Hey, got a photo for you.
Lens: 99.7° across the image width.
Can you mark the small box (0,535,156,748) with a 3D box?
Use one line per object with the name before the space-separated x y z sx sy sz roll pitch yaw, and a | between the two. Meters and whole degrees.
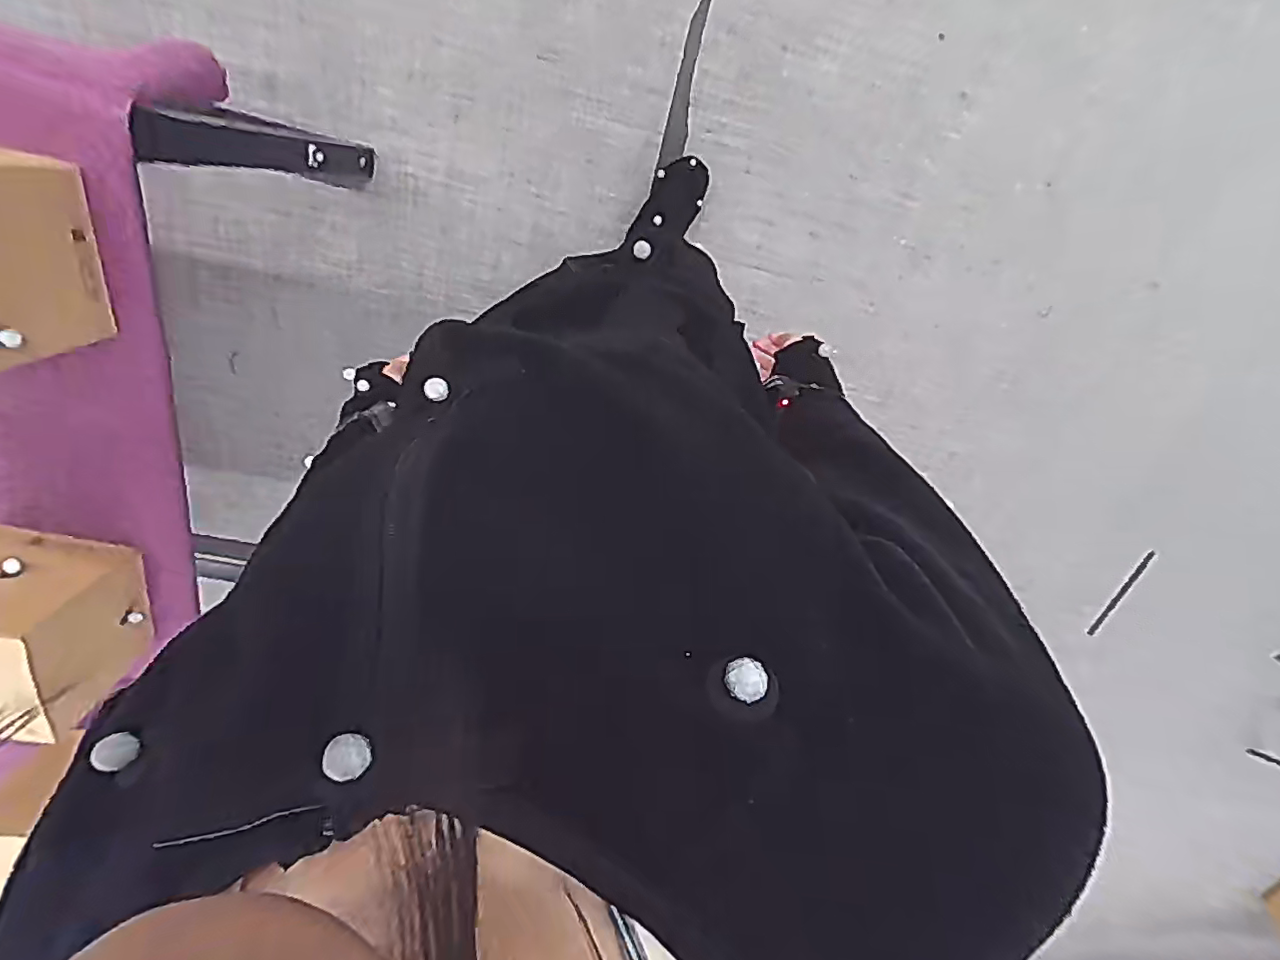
small box | -0.745 0.189 0.660 0.168 0.176 0.179 12 116 -11
